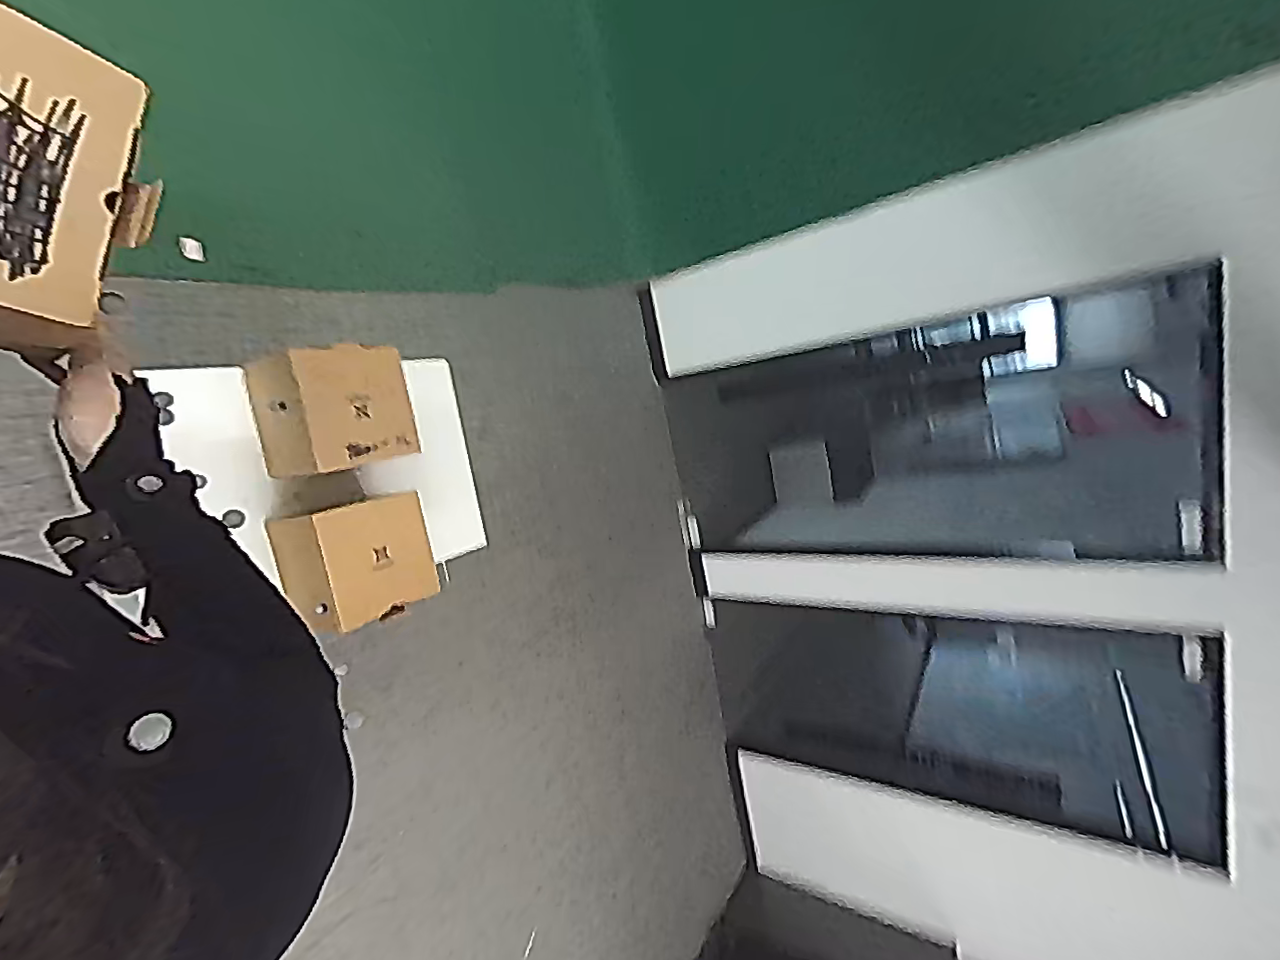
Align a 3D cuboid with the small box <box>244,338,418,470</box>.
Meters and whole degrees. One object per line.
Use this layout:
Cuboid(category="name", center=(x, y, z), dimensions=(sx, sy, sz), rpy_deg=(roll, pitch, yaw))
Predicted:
Cuboid(category="small box", center=(-0.485, -0.118, 0.849), dimensions=(0.168, 0.176, 0.179), rpy_deg=(-21, 105, -53))
